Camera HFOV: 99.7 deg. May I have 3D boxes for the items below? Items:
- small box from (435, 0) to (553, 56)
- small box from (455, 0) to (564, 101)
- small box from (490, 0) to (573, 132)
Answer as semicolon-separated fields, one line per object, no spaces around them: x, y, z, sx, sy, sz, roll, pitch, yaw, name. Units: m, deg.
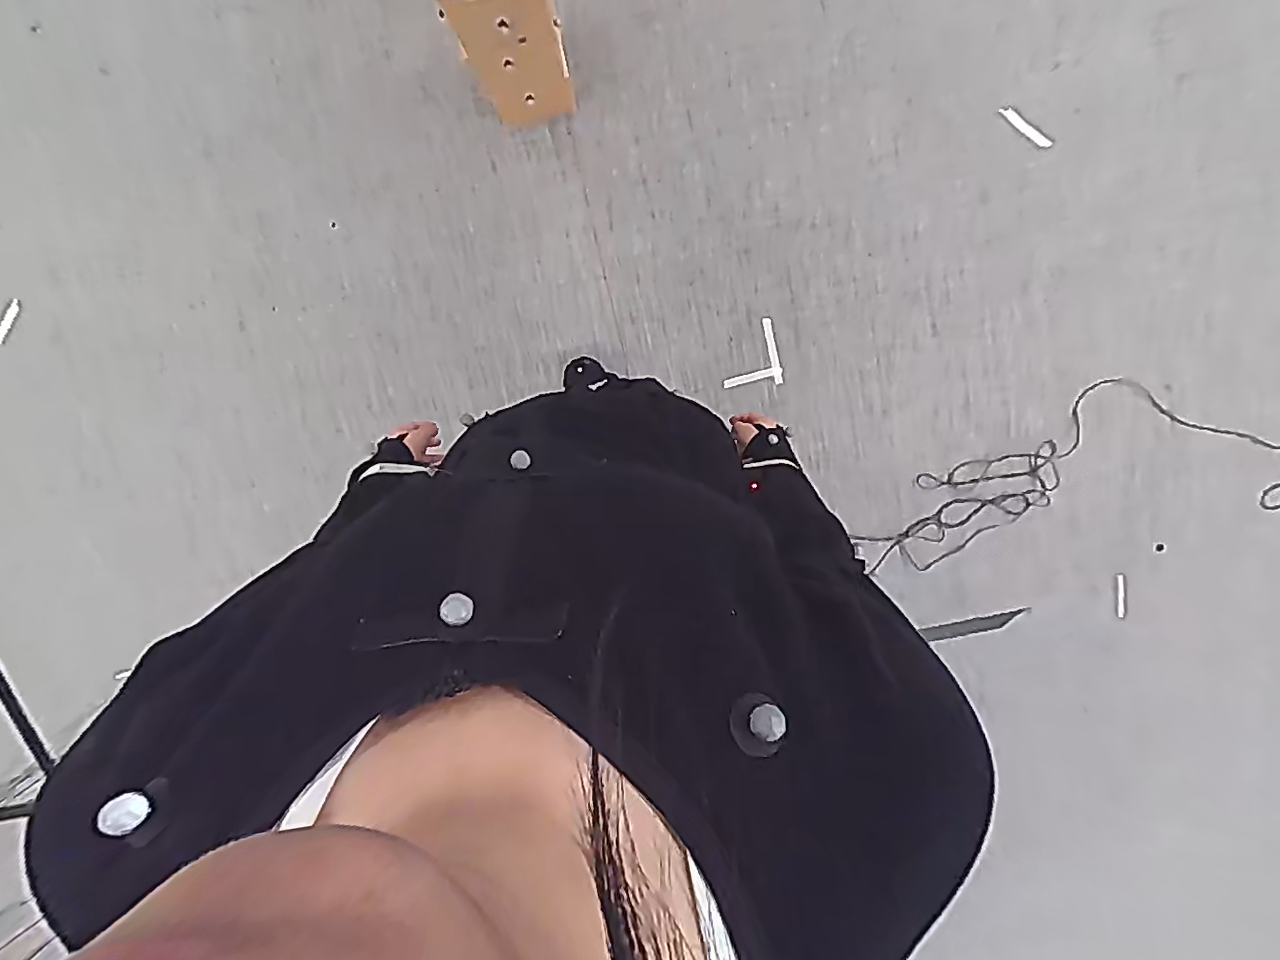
-0.248;-0.838;0.888;0.168;0.176;0.179;-11;104;2;small box
-0.257;-0.871;1.048;0.179;0.176;0.168;-10;104;2;small box
-0.253;-0.913;1.207;0.179;0.176;0.168;-13;103;2;small box
